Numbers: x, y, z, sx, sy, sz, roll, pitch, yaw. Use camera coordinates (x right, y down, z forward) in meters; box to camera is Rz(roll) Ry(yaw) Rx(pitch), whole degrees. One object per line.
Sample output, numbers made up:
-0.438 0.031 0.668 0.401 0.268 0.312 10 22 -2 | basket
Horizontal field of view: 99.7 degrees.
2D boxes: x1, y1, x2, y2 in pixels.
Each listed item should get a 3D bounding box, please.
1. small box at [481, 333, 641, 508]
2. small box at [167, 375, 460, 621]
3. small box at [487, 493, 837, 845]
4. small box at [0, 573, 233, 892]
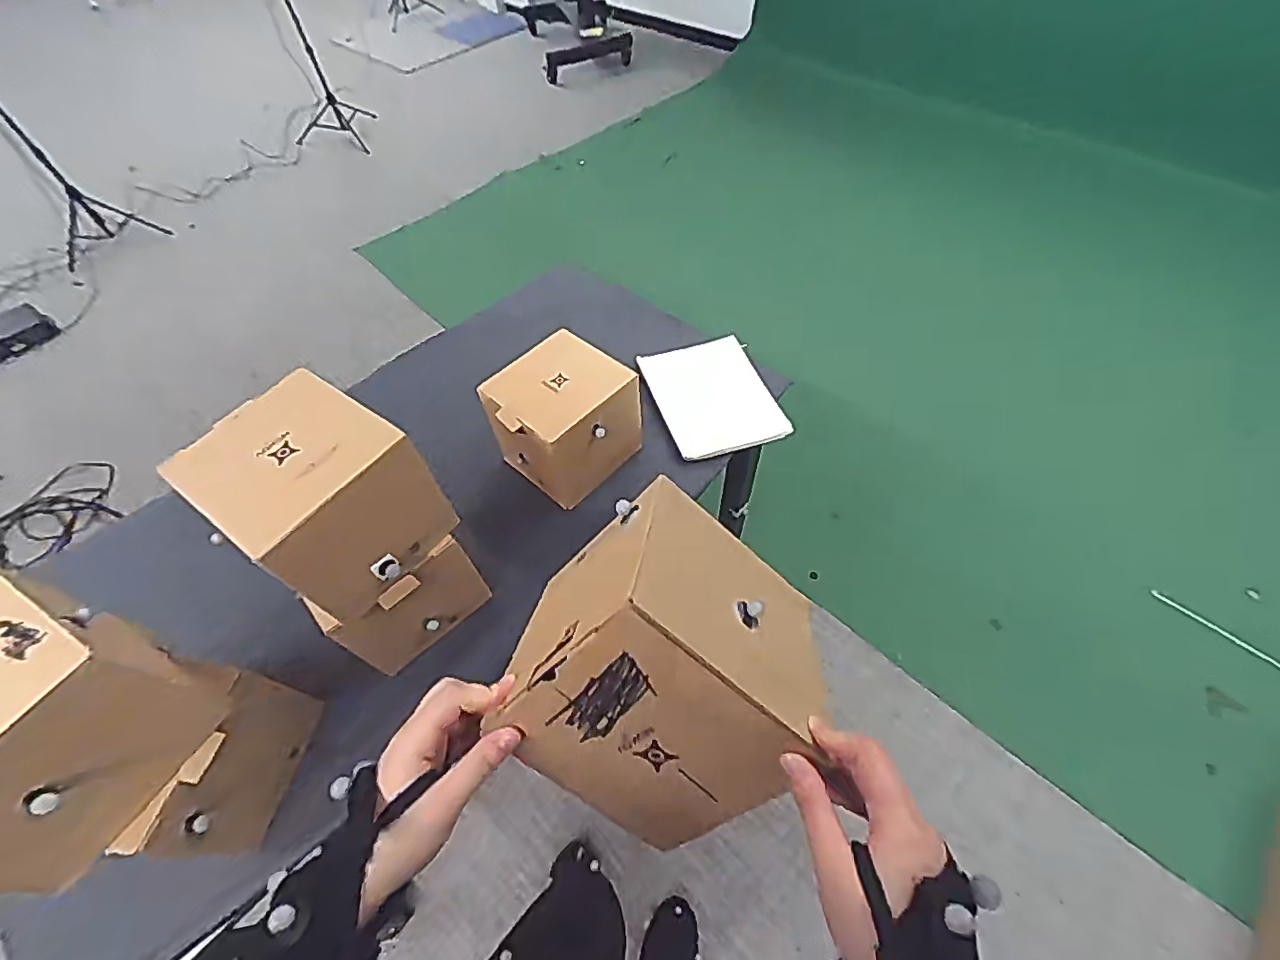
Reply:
-0.112 -0.091 0.849 0.168 0.176 0.179 35 64 25 | small box
-0.331 0.025 0.583 0.179 0.176 0.168 29 62 21 | small box
0.019 0.133 0.428 0.179 0.168 0.176 40 25 -12 | small box
-0.511 0.215 0.458 0.168 0.176 0.179 23 60 18 | small box
